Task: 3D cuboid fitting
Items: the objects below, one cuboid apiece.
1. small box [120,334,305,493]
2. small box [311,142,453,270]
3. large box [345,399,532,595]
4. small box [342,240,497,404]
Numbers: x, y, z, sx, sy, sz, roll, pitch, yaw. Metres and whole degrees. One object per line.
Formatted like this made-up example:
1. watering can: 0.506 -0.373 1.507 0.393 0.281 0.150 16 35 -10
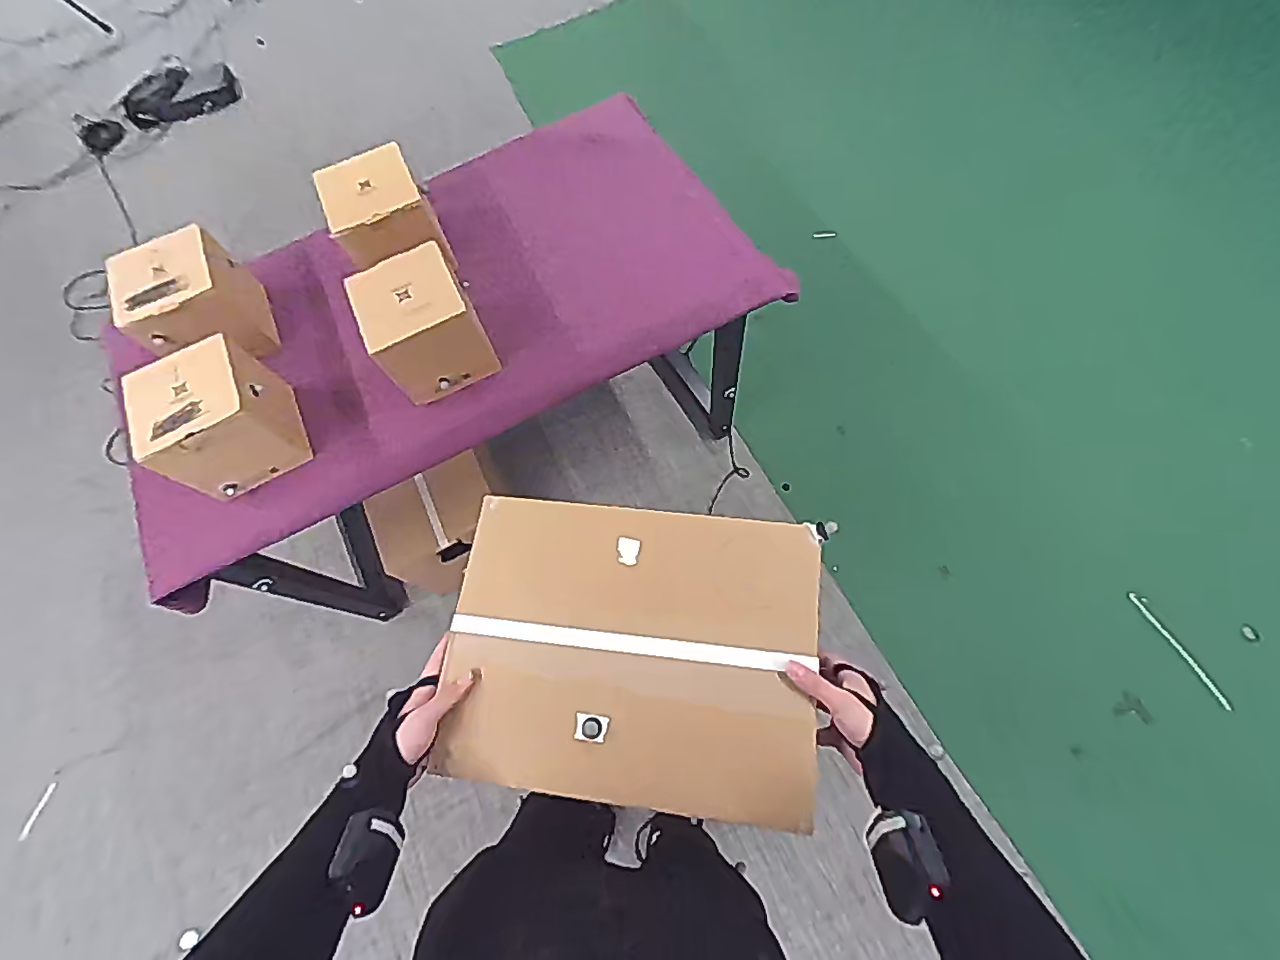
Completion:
1. small box: -0.692 -0.098 0.892 0.168 0.176 0.179 -28 66 -6
2. small box: -0.485 -0.492 1.034 0.168 0.176 0.179 -26 69 -5
3. large box: -0.556 0.058 1.534 0.320 0.320 0.408 -27 67 -6
4. small box: -0.372 -0.264 0.929 0.168 0.176 0.179 -26 67 -4
